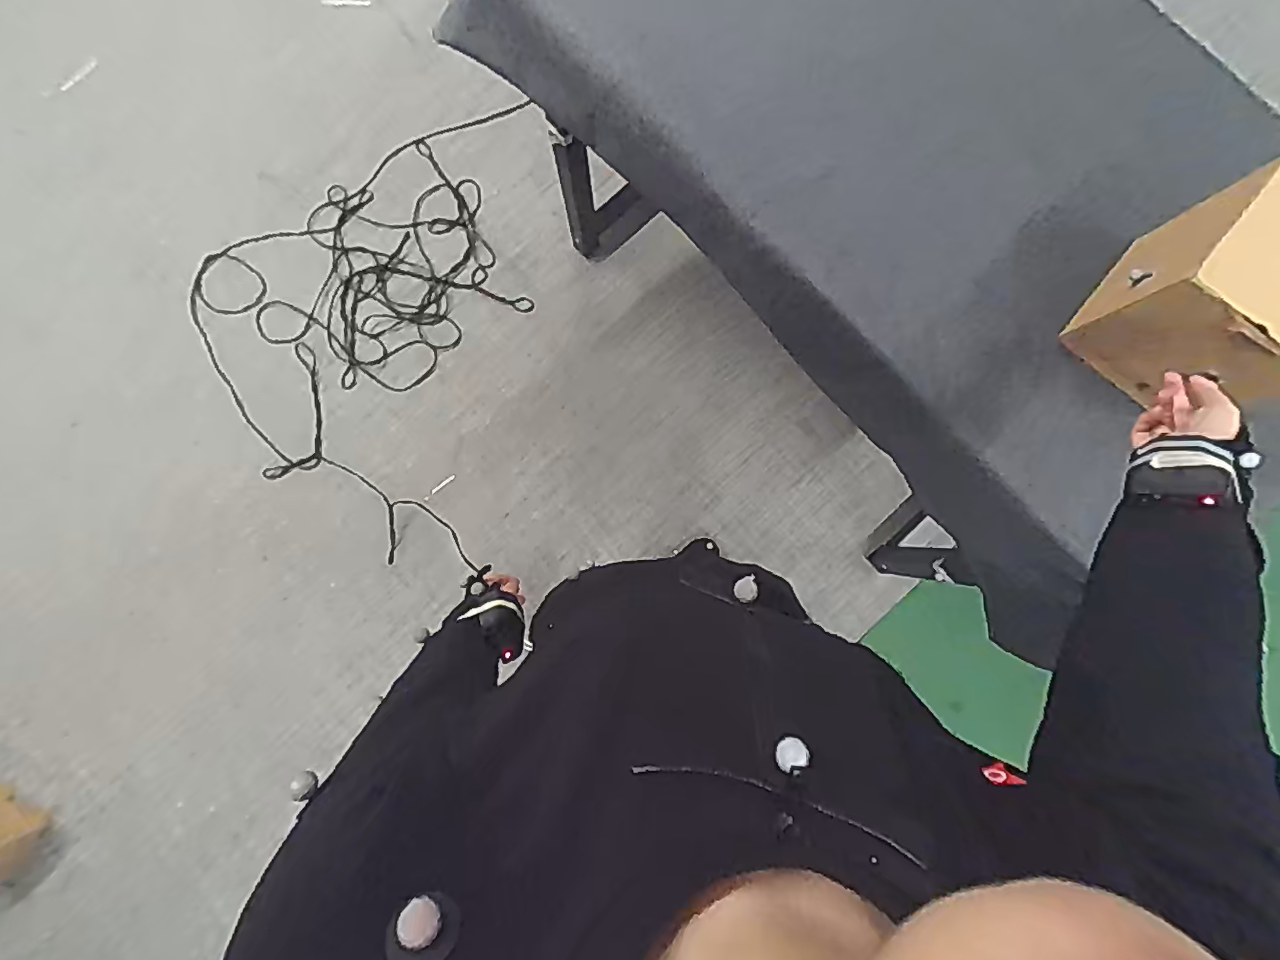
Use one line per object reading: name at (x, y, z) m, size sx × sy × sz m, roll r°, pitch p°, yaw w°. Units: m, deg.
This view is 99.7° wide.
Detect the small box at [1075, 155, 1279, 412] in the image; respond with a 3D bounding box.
small box at (0.638, -0.199, 0.593) m, size 0.168 × 0.176 × 0.179 m, roll 40°, pitch 84°, yaw 2°
